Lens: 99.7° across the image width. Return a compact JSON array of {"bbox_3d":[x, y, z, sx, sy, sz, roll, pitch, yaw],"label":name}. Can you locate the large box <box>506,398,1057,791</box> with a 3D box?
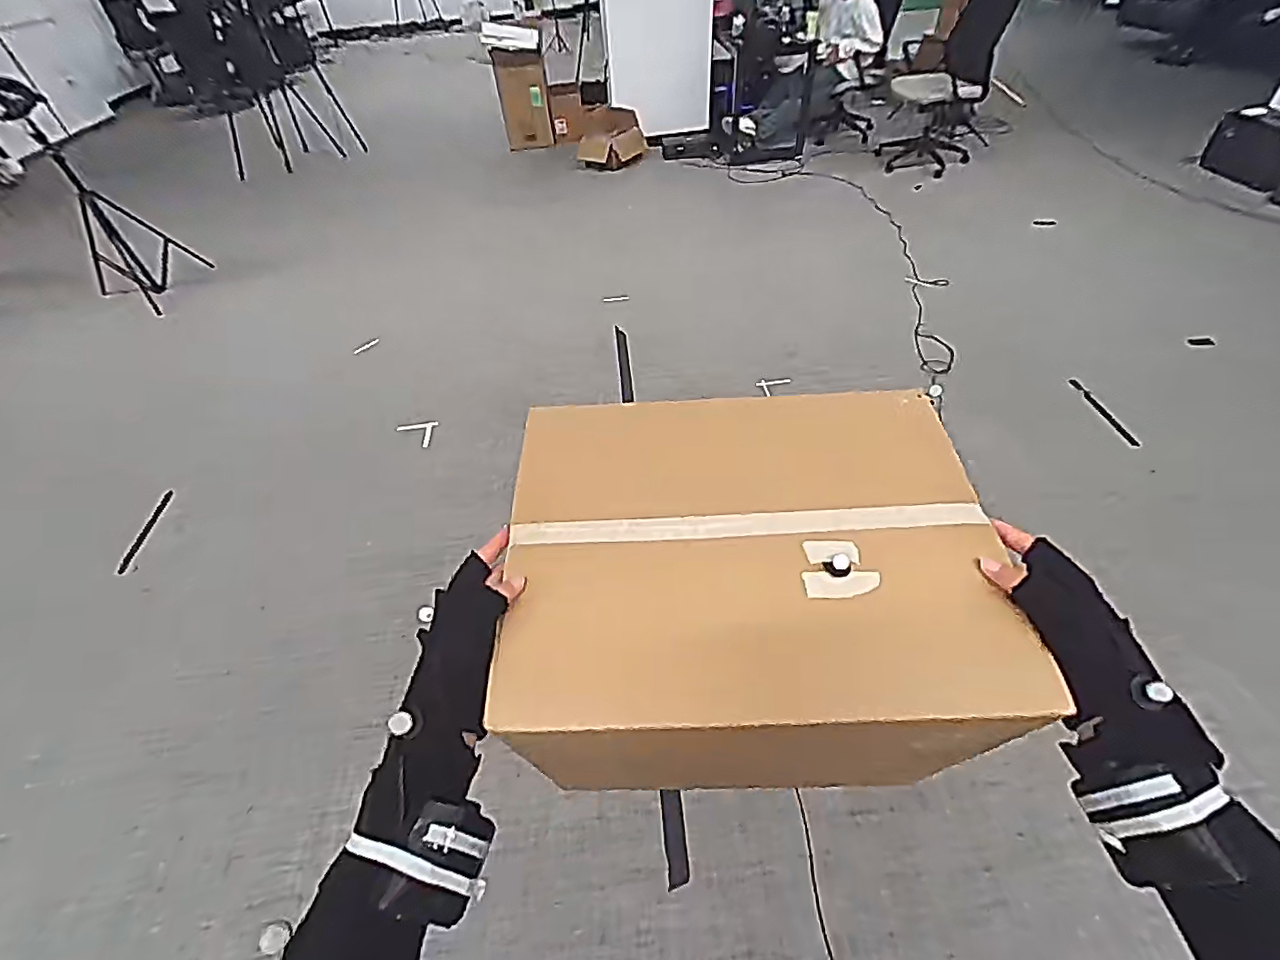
[{"bbox_3d":[0.099,0.135,0.590,0.408,0.320,0.320,-2,54,1],"label":"large box"}]
